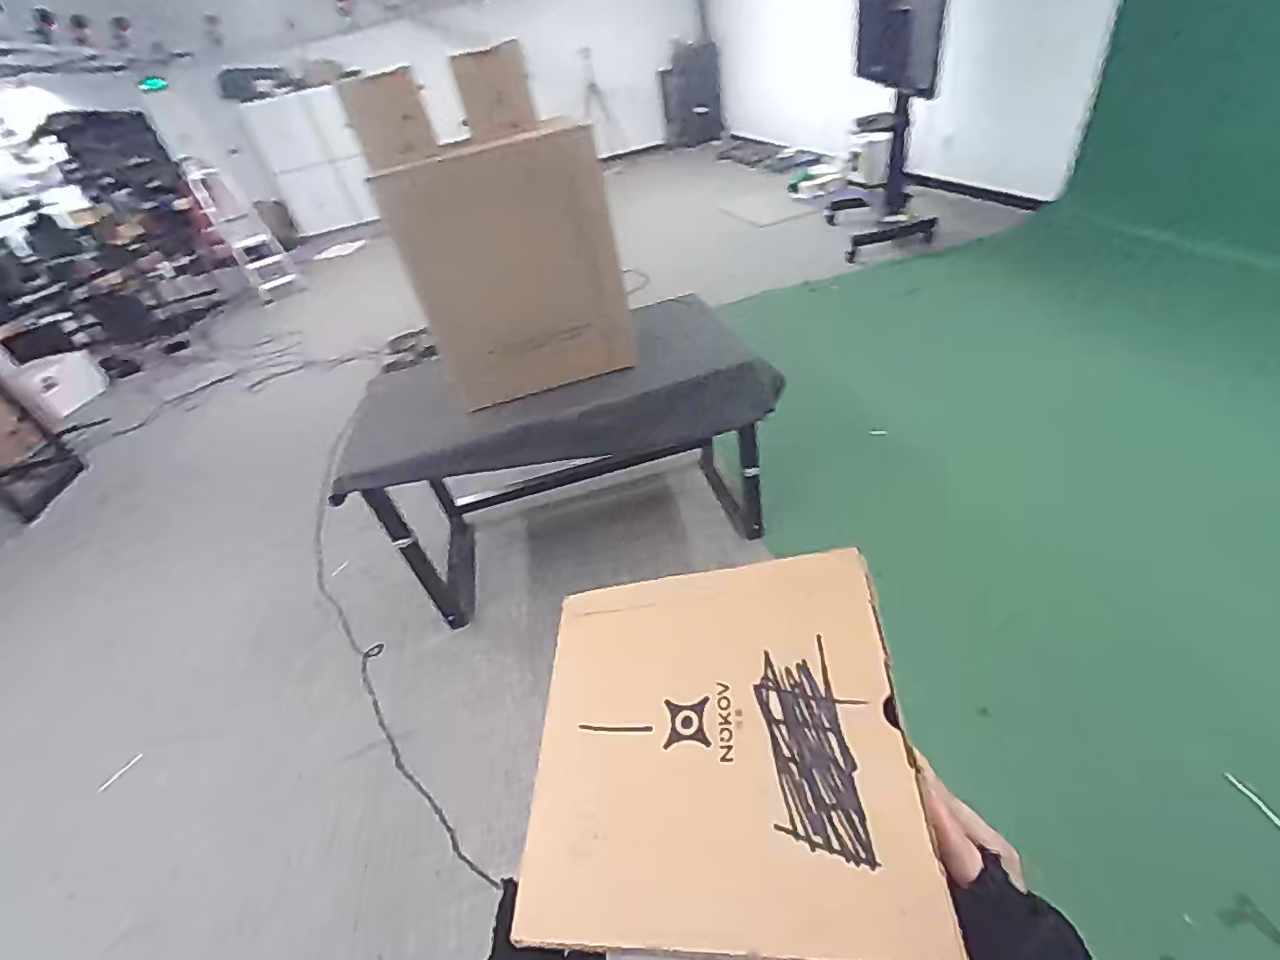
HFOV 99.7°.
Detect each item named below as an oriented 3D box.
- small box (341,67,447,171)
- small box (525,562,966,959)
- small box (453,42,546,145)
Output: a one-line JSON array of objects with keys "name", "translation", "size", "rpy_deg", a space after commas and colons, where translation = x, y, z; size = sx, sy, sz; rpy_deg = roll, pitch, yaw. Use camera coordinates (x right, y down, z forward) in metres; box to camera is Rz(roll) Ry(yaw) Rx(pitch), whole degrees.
[{"name": "small box", "translation": [-0.555, -0.826, 1.243], "size": [0.168, 0.176, 0.179], "rpy_deg": [-18, 39, -7]}, {"name": "small box", "translation": [0.058, 0.173, 0.318], "size": [0.179, 0.176, 0.168], "rpy_deg": [-13, 46, 14]}, {"name": "small box", "translation": [-0.329, -0.907, 1.274], "size": [0.168, 0.176, 0.179], "rpy_deg": [-16, 40, -5]}]
